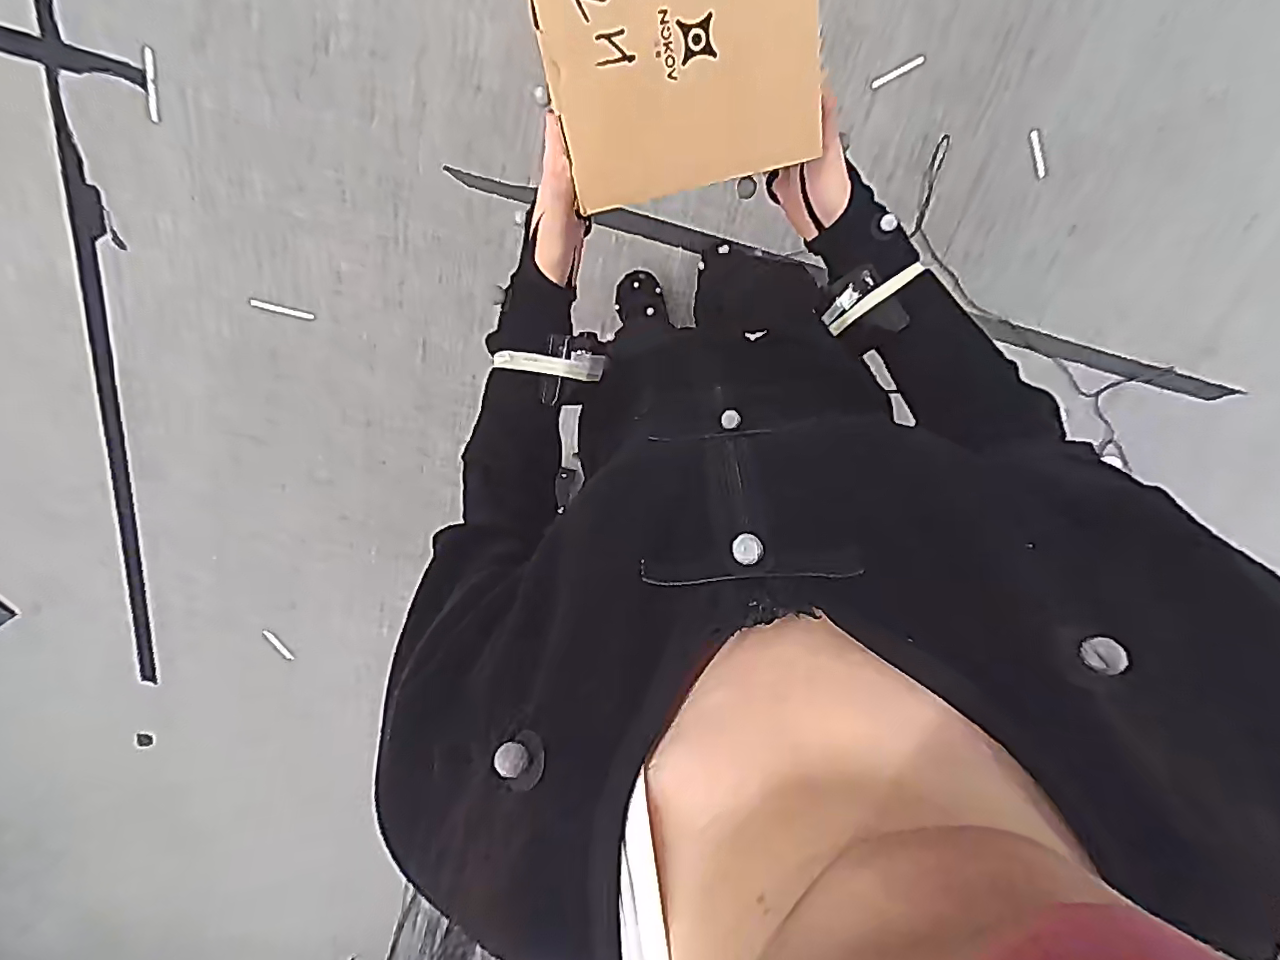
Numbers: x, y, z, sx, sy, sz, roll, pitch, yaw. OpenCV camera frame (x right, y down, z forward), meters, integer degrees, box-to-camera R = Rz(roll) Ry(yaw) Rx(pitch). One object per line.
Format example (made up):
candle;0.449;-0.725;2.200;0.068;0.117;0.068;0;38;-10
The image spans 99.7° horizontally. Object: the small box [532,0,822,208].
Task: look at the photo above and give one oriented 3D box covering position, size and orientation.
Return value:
small box;0.019;-0.316;0.405;0.179;0.176;0.168;-13;120;1
